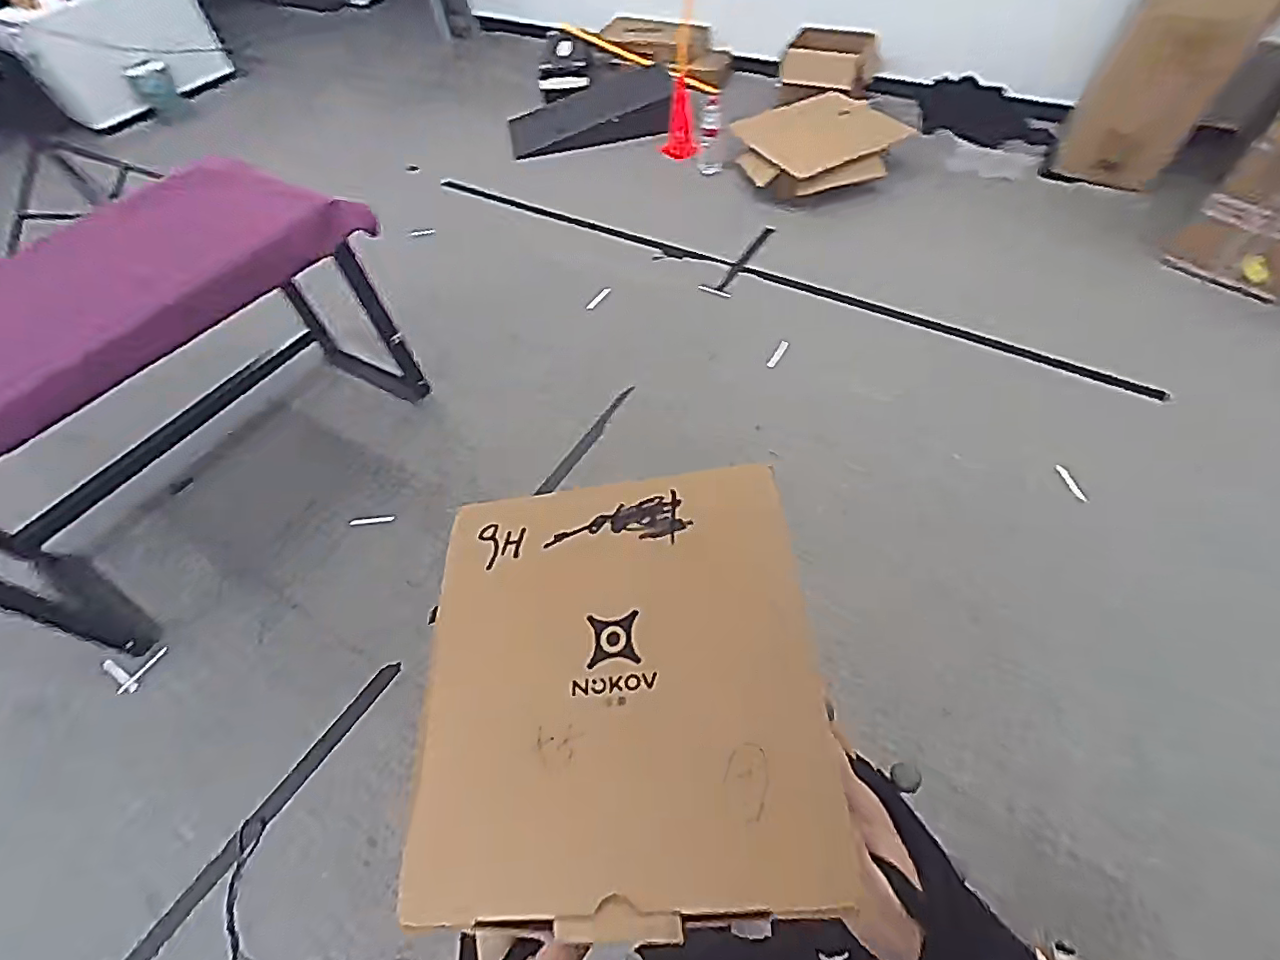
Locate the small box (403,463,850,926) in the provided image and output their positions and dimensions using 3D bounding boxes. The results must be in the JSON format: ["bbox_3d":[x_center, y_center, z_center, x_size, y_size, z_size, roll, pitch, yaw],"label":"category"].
[{"bbox_3d":[0.002,0.116,0.298,0.168,0.176,0.179,-8,58,7],"label":"small box"}]
